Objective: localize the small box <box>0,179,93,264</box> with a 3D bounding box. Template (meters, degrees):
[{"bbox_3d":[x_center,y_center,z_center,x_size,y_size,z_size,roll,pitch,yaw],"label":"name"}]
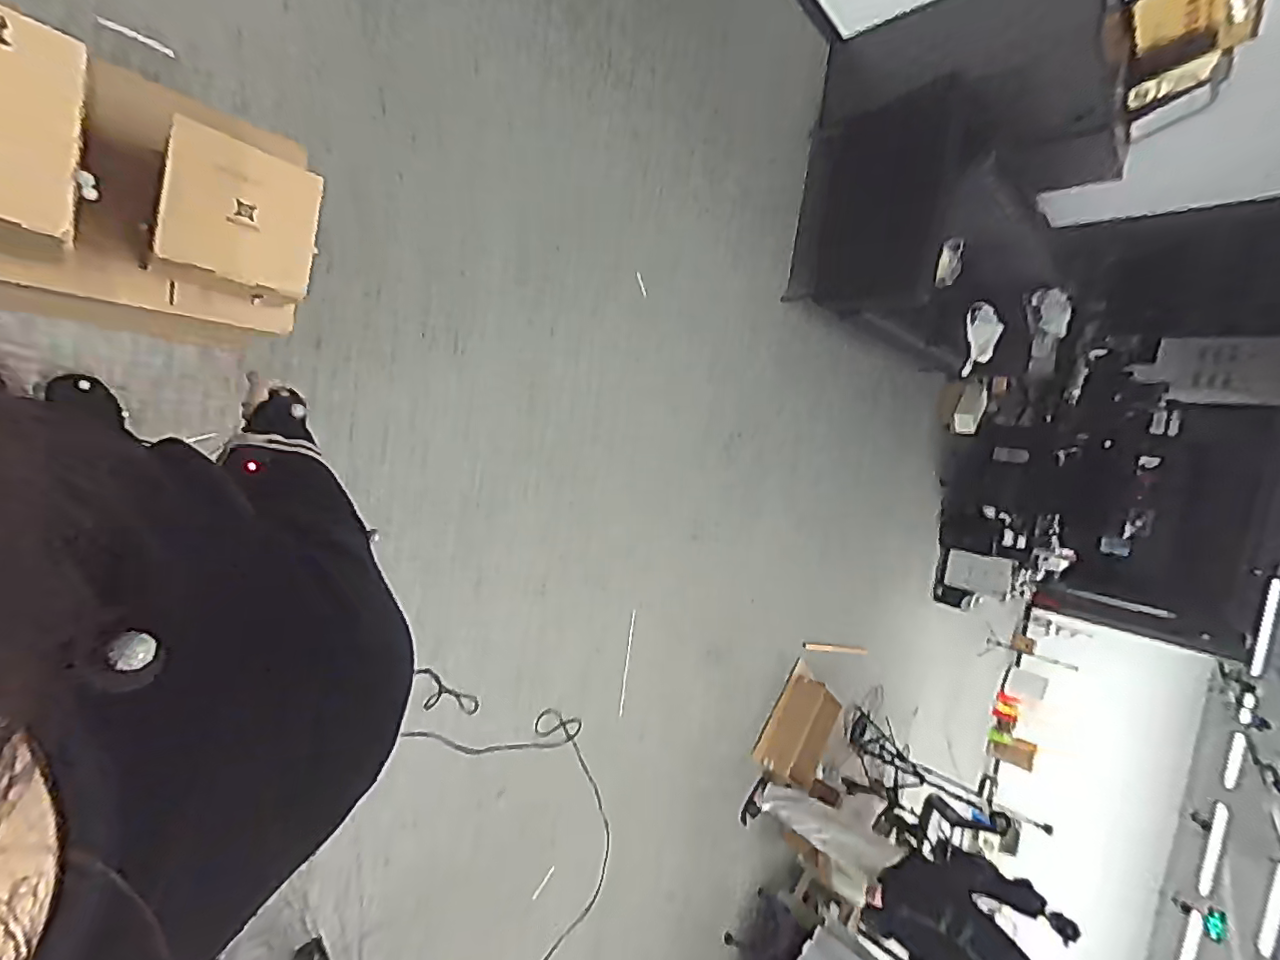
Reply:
[{"bbox_3d":[-0.732,-0.360,0.605,0.168,0.176,0.179,3,98,-47],"label":"small box"}]

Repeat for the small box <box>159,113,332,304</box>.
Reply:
[{"bbox_3d":[-0.565,-0.364,0.770,0.168,0.176,0.179,9,92,-45],"label":"small box"}]

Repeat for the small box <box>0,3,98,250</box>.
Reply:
[{"bbox_3d":[-0.617,-0.327,0.493,0.168,0.176,0.179,4,98,-47],"label":"small box"}]
